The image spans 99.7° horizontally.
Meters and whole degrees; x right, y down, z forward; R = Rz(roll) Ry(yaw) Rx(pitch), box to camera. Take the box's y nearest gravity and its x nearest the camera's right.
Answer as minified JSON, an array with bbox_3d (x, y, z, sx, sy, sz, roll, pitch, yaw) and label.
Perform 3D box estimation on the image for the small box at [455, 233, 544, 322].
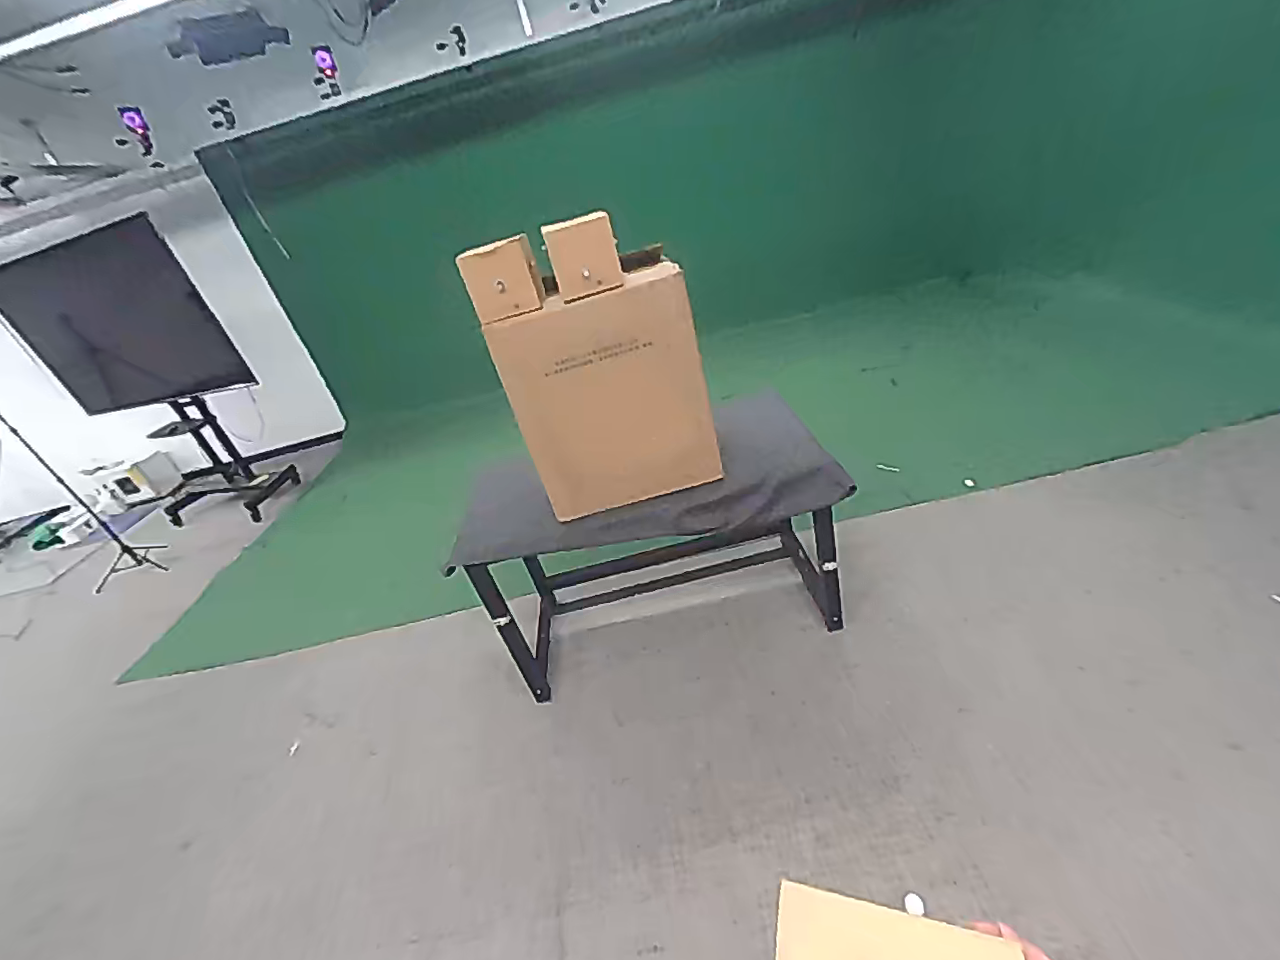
[{"bbox_3d":[-0.360,-0.531,1.425,0.168,0.176,0.179,-15,30,3],"label":"small box"}]

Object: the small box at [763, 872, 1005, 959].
[{"bbox_3d":[0.191,0.438,0.421,0.168,0.176,0.179,-3,50,25],"label":"small box"}]
